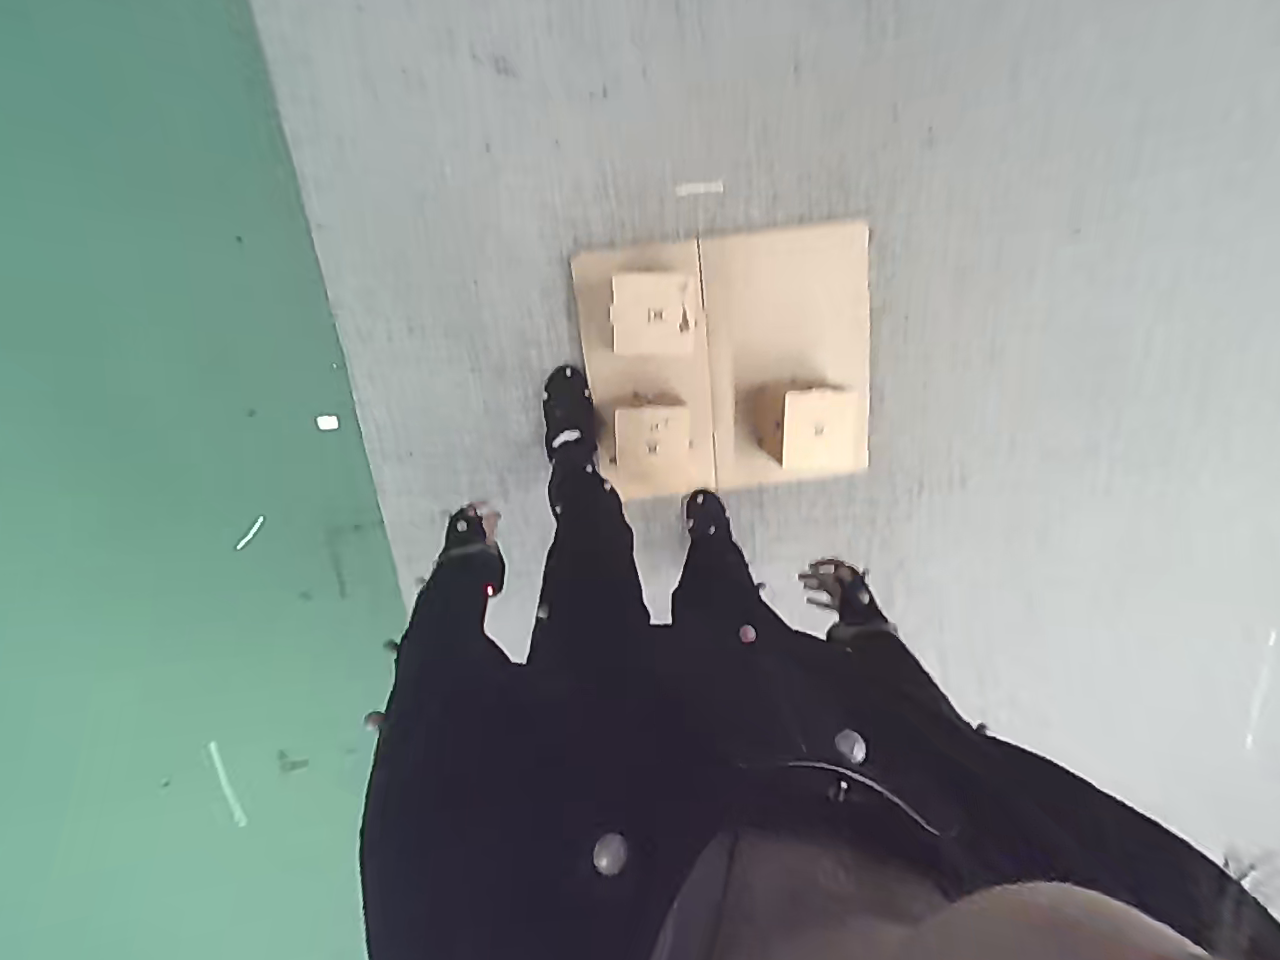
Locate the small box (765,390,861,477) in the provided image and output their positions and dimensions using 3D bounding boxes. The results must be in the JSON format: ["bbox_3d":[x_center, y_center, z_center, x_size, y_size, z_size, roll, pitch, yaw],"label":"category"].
[{"bbox_3d":[0.400,-0.114,1.277,0.168,0.176,0.179,-3,104,-3],"label":"small box"}]

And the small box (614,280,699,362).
[{"bbox_3d":[0.031,-0.347,1.199,0.179,0.176,0.168,0,105,-3],"label":"small box"}]

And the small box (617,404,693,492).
[{"bbox_3d":[0.030,-0.079,1.269,0.168,0.176,0.179,-2,105,-3],"label":"small box"}]
